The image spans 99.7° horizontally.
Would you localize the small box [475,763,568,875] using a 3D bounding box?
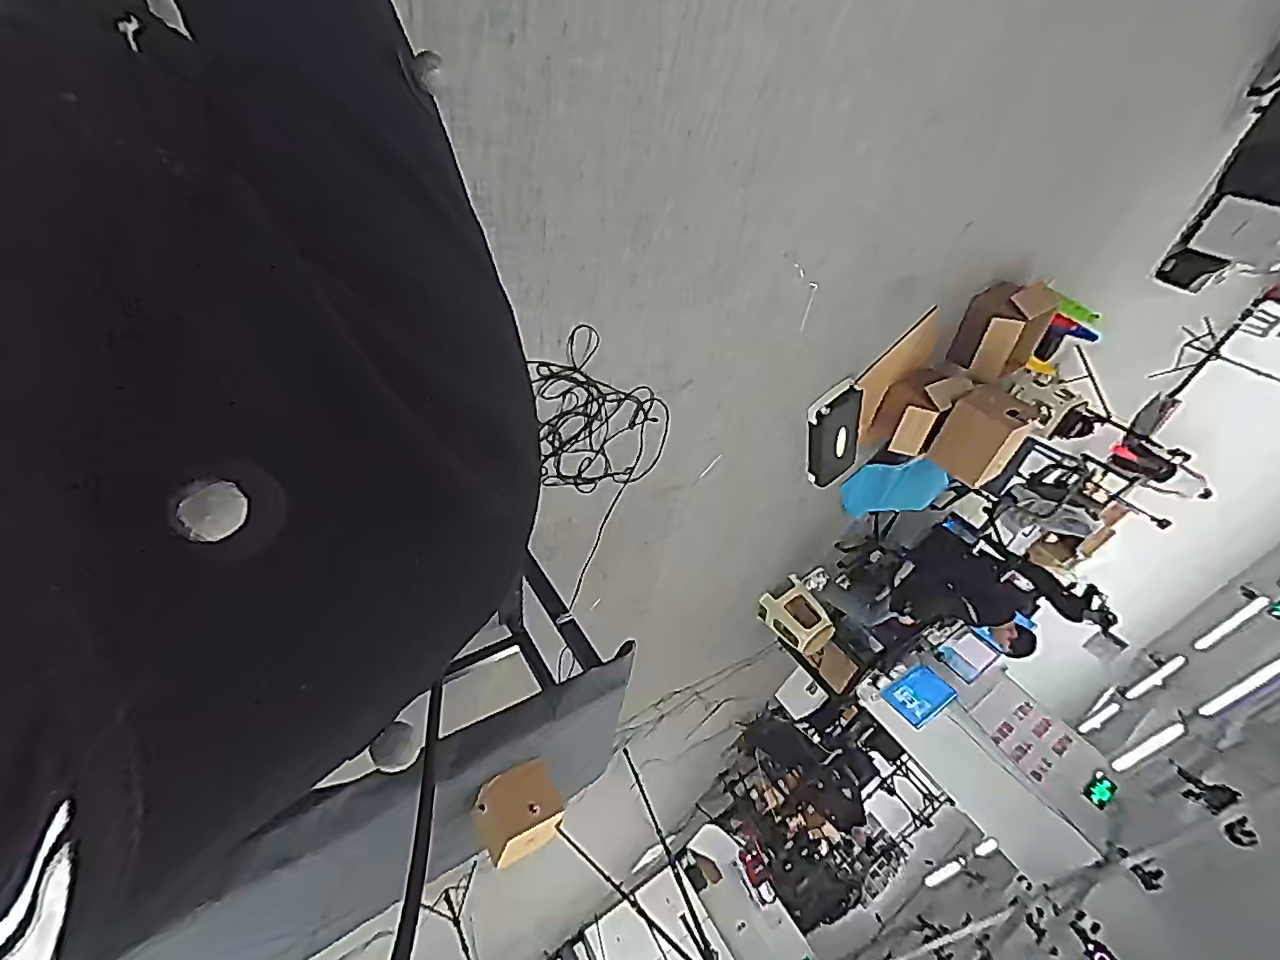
[{"bbox_3d":[-0.326,0.913,1.473,0.179,0.176,0.168,-6,129,-39],"label":"small box"}]
